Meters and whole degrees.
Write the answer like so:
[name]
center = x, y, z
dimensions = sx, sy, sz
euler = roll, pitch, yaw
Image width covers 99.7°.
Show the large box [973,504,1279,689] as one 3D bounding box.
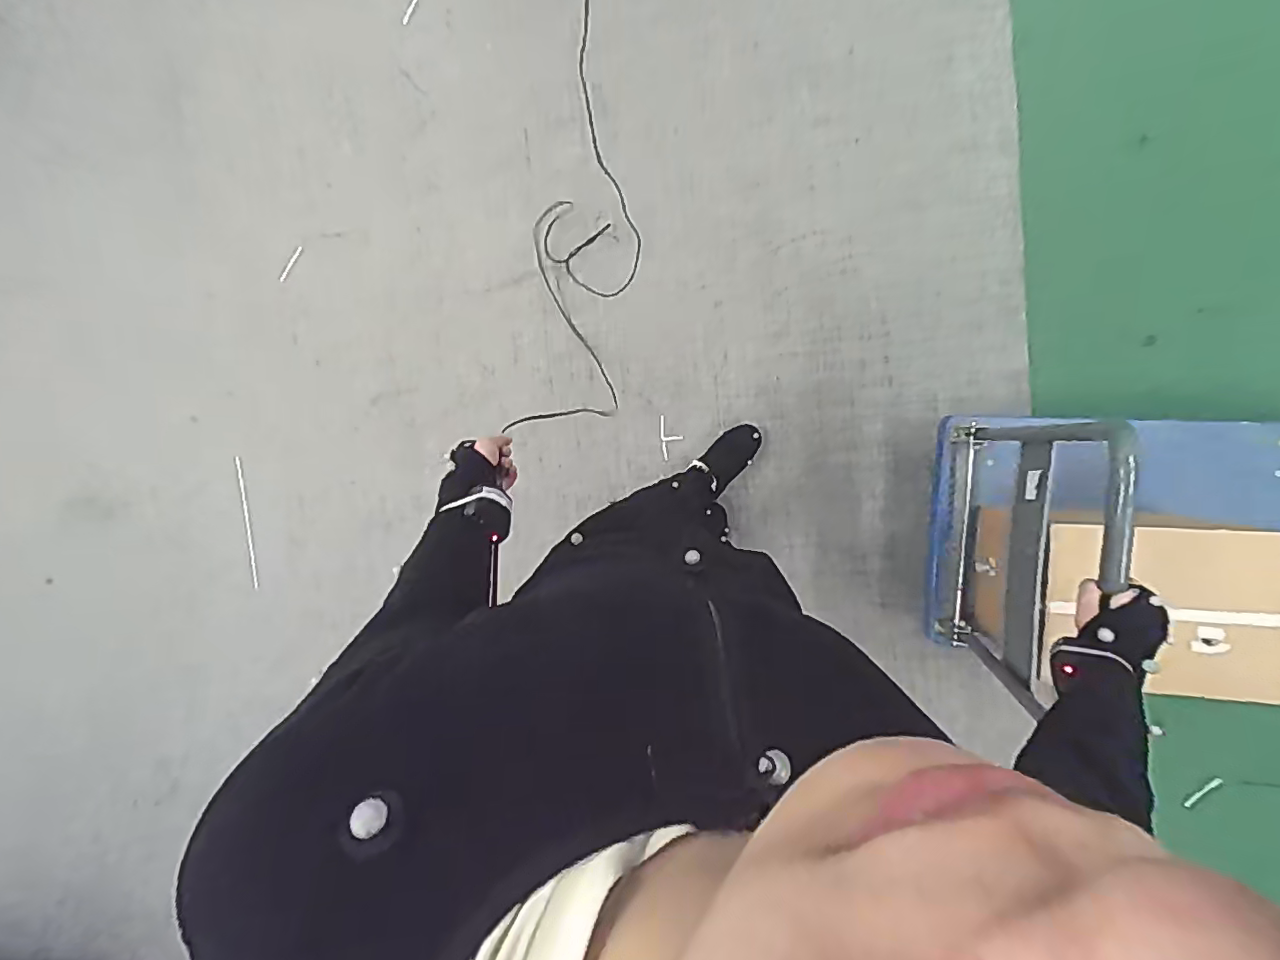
[large box]
center = 0.988, 0.218, 1.148
dimensions = 0.408, 0.320, 0.320
euler = 2, 94, 10
